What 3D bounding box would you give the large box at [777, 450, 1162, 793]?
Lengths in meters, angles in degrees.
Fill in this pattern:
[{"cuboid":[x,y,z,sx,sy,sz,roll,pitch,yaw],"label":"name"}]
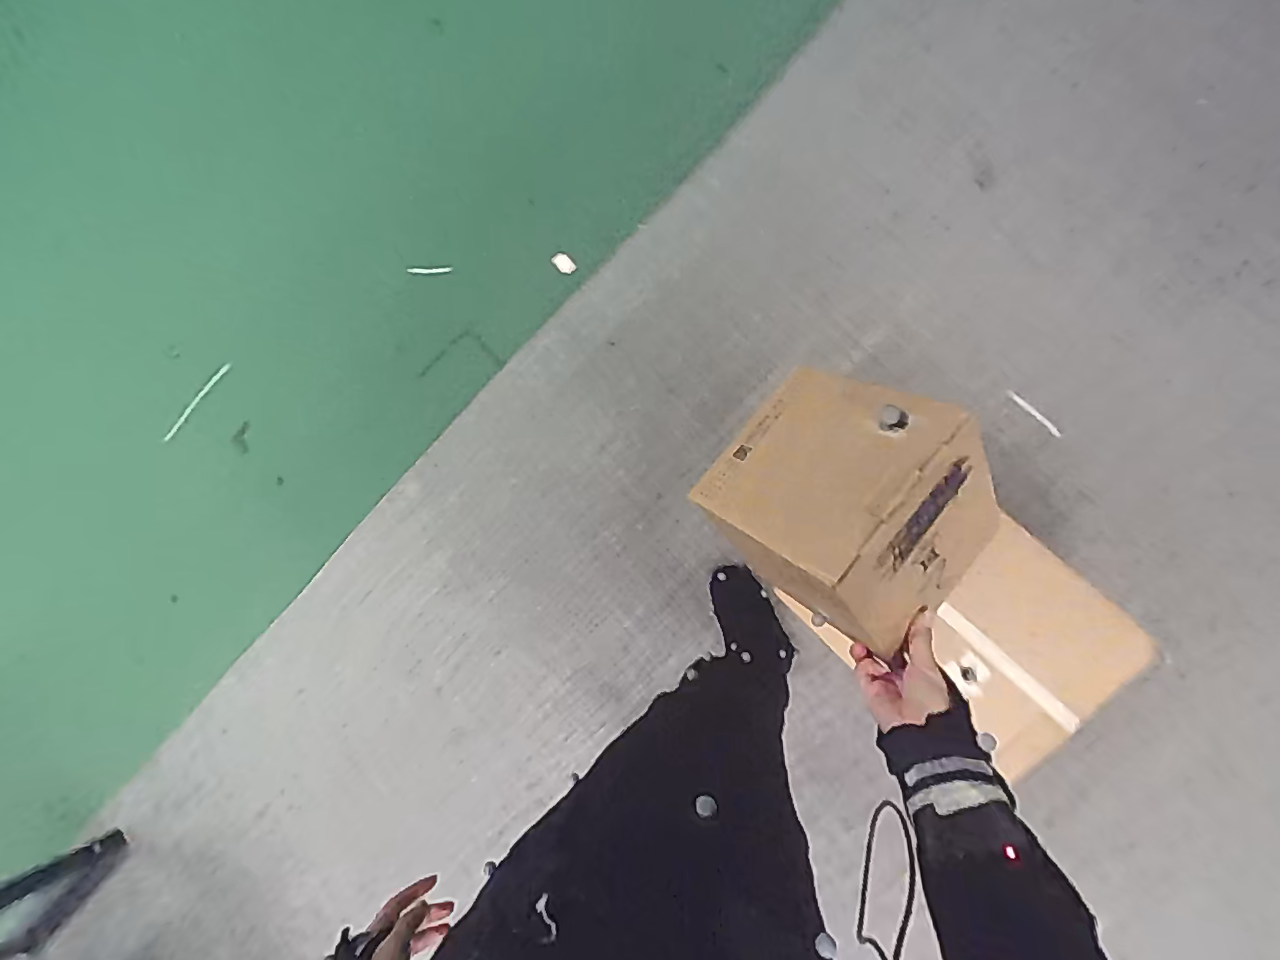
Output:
[{"cuboid":[0.485,0.202,0.917,0.408,0.320,0.320,45,99,12],"label":"large box"}]
